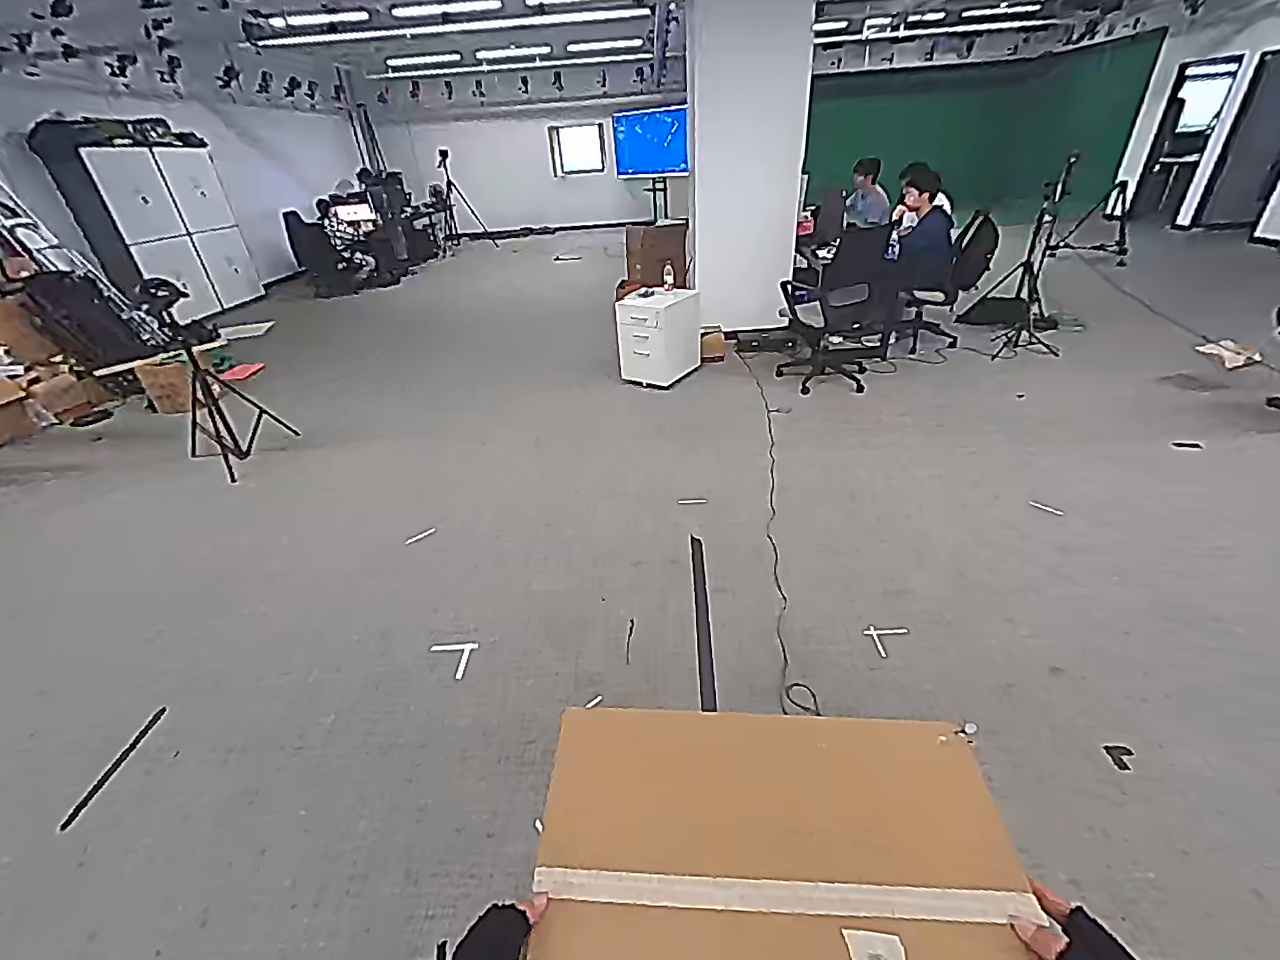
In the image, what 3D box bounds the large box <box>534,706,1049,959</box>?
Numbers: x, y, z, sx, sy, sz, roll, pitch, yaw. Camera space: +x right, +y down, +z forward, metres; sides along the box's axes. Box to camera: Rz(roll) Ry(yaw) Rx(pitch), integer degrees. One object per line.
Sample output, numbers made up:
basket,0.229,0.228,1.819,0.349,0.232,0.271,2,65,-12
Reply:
large box,0.121,0.459,0.546,0.408,0.320,0.320,1,38,4
